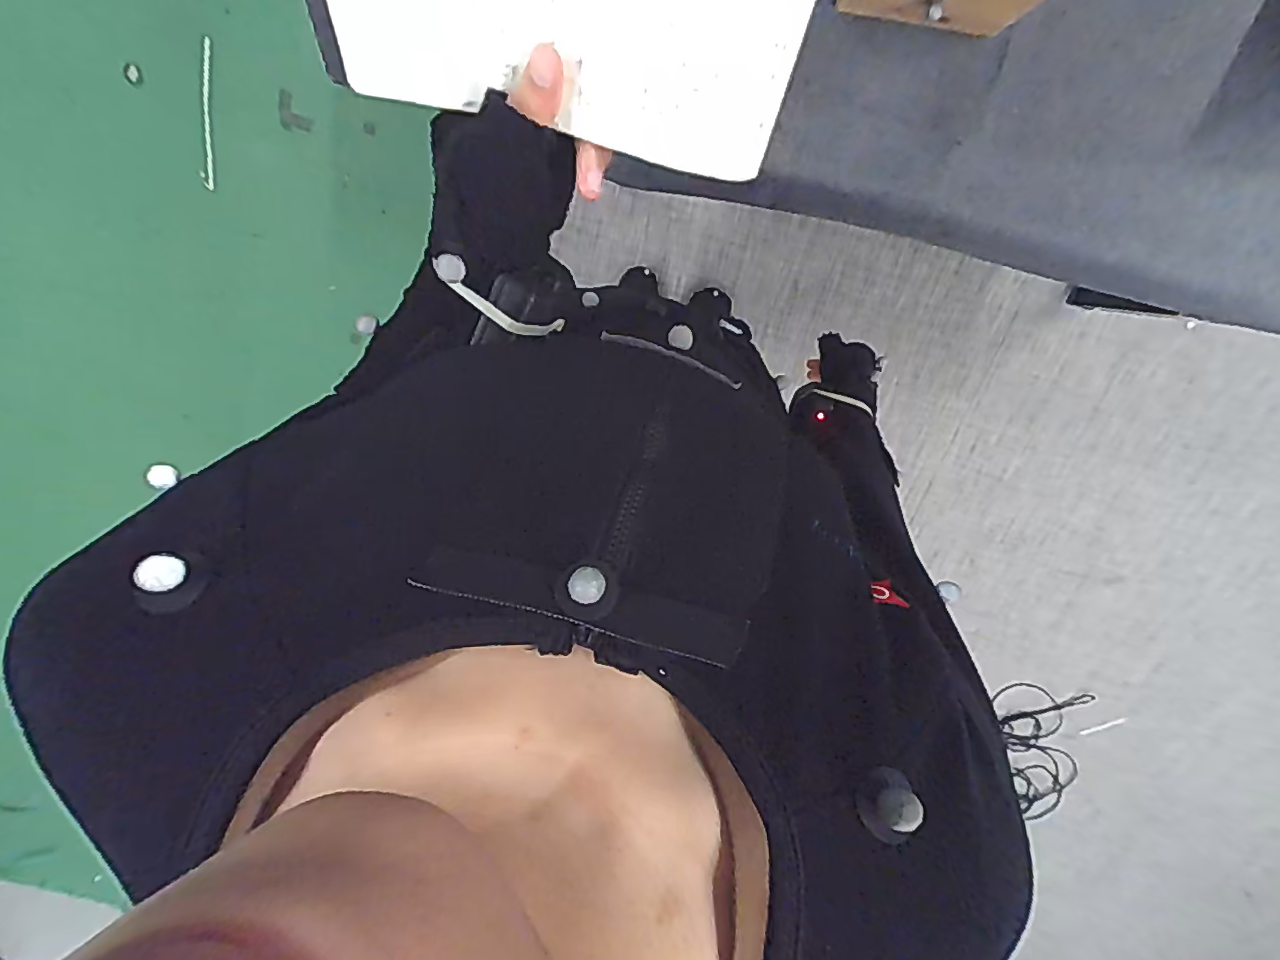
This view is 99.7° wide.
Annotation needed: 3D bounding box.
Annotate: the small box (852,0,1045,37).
[{"bbox_3d":[0.291,-0.512,0.441,0.168,0.176,0.179,10,111,1],"label":"small box"}]
